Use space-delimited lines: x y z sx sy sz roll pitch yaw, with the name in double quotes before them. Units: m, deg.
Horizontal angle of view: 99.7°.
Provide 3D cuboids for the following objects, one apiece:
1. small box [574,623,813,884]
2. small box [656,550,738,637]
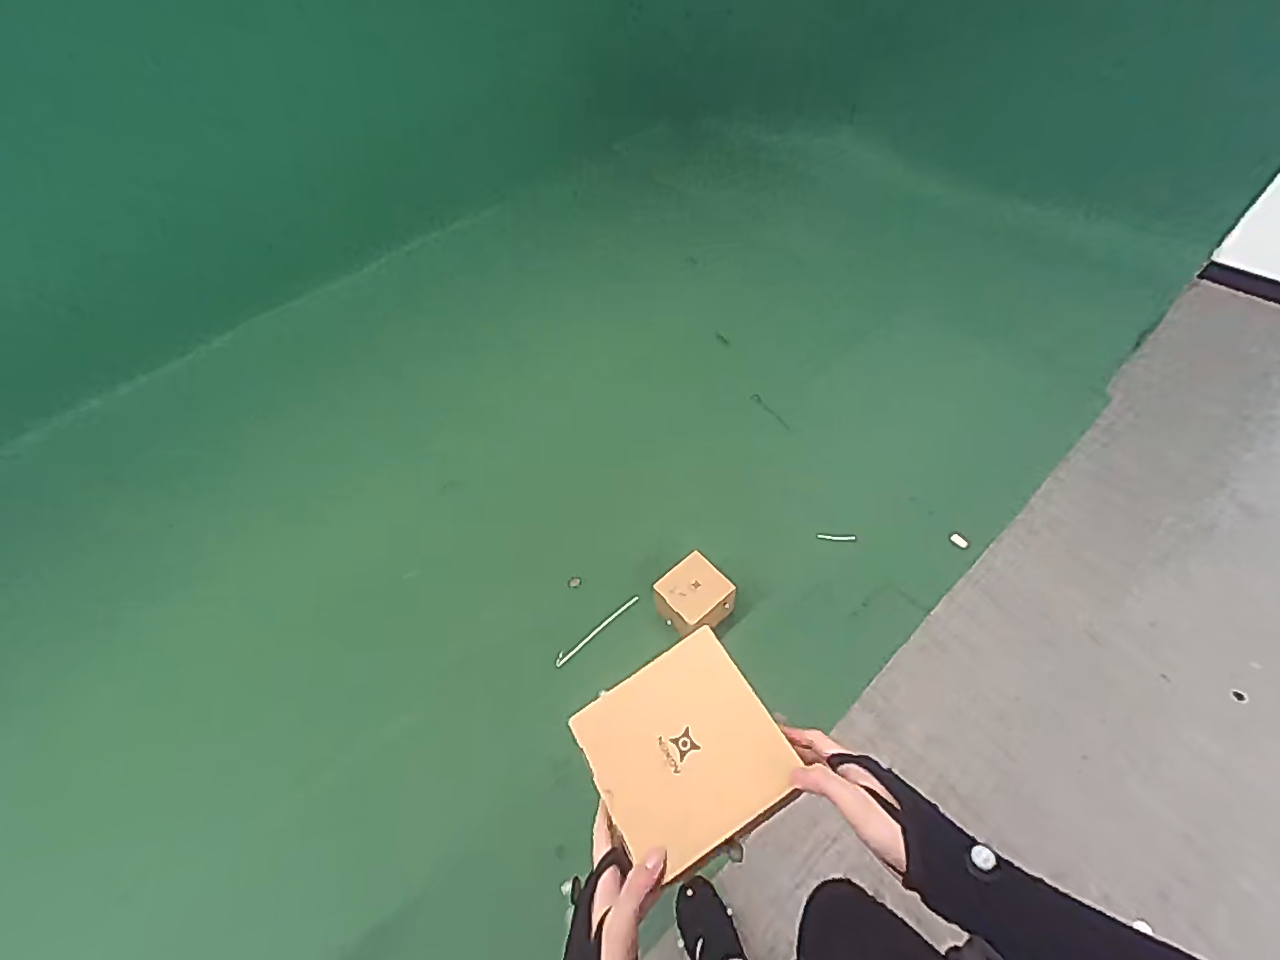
"small box" 0.061 0.286 0.578 0.179 0.176 0.168 -33 56 -4
"small box" 0.164 0.345 1.596 0.179 0.176 0.168 -36 58 -19
